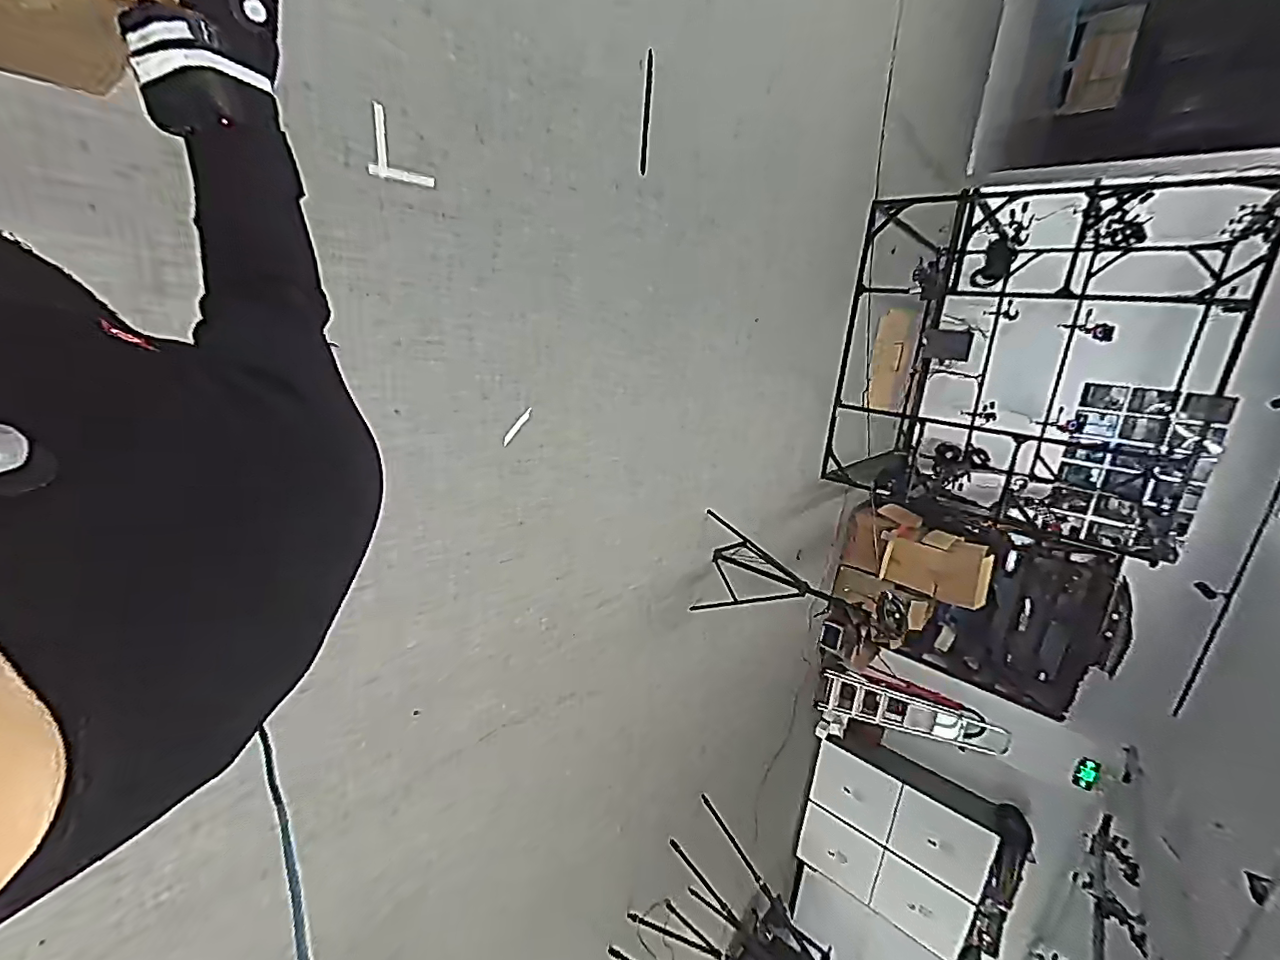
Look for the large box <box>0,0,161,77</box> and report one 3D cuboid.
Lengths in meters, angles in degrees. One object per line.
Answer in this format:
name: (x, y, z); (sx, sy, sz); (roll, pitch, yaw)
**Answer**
large box: (-0.552, -0.470, 0.265); (0.408, 0.320, 0.320); (-16, 118, -48)
